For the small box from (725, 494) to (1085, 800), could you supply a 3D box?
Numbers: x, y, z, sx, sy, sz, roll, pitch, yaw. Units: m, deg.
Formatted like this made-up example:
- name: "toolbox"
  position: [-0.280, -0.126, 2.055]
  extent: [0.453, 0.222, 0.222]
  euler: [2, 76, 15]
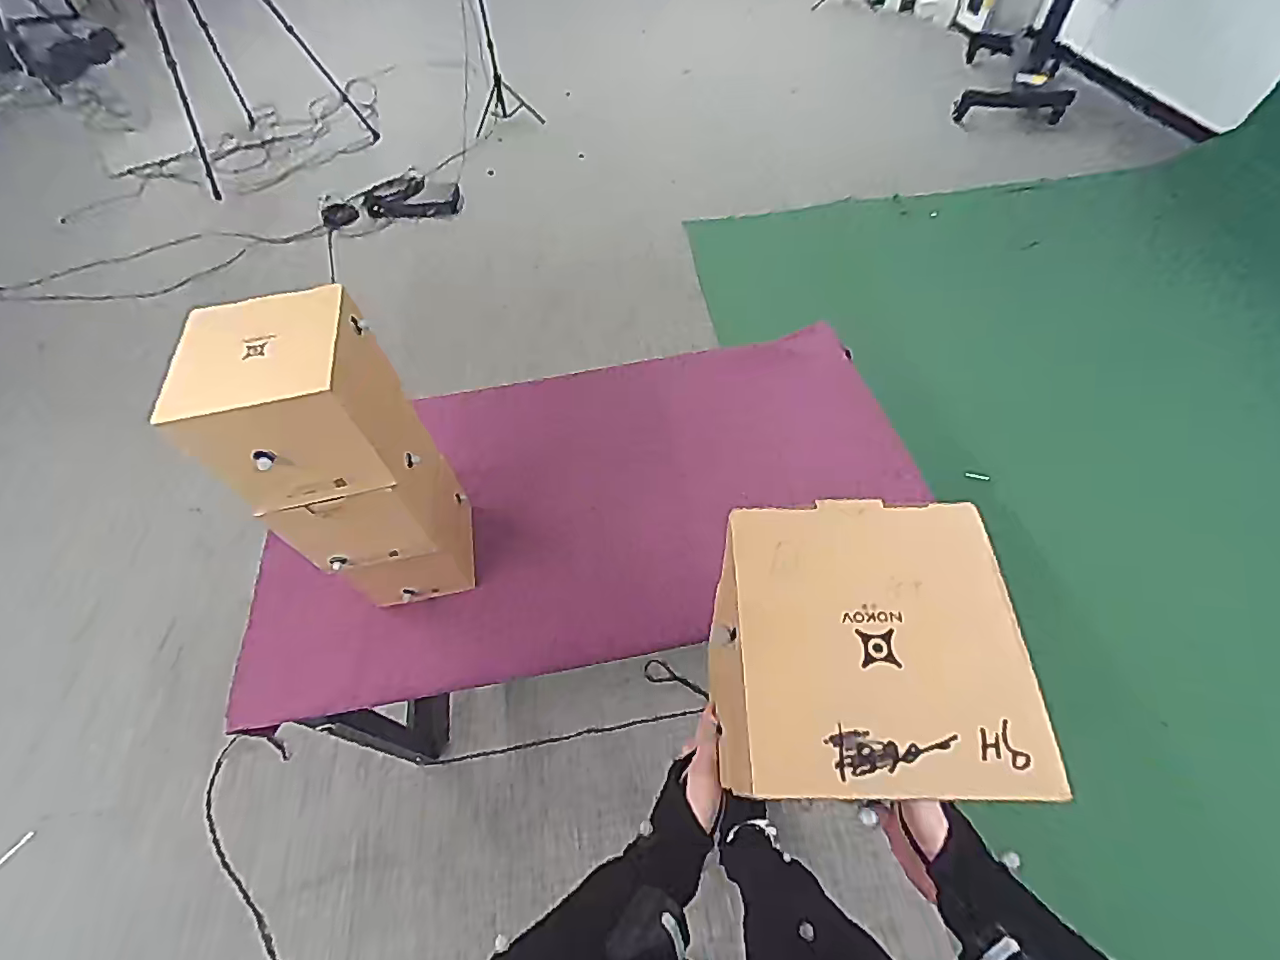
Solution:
- name: "small box"
  position: [0.151, 0.125, 0.388]
  extent: [0.168, 0.176, 0.179]
  euler: [-2, 60, 5]

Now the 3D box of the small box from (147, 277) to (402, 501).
- name: "small box"
  position: [-0.384, -0.093, 0.609]
  extent: [0.168, 0.176, 0.179]
  euler: [-13, 55, -5]

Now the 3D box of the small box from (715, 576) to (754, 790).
- name: "small box"
  position: [0.161, 0.205, 0.531]
  extent: [0.168, 0.176, 0.179]
  euler: [0, 60, 5]

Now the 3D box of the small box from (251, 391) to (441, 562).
- name: "small box"
  position: [-0.383, -0.001, 0.743]
  extent: [0.168, 0.176, 0.179]
  euler: [-10, 55, -4]

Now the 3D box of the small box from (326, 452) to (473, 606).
- name: "small box"
  position: [-0.378, 0.083, 0.883]
  extent: [0.168, 0.176, 0.179]
  euler: [-10, 56, -4]
